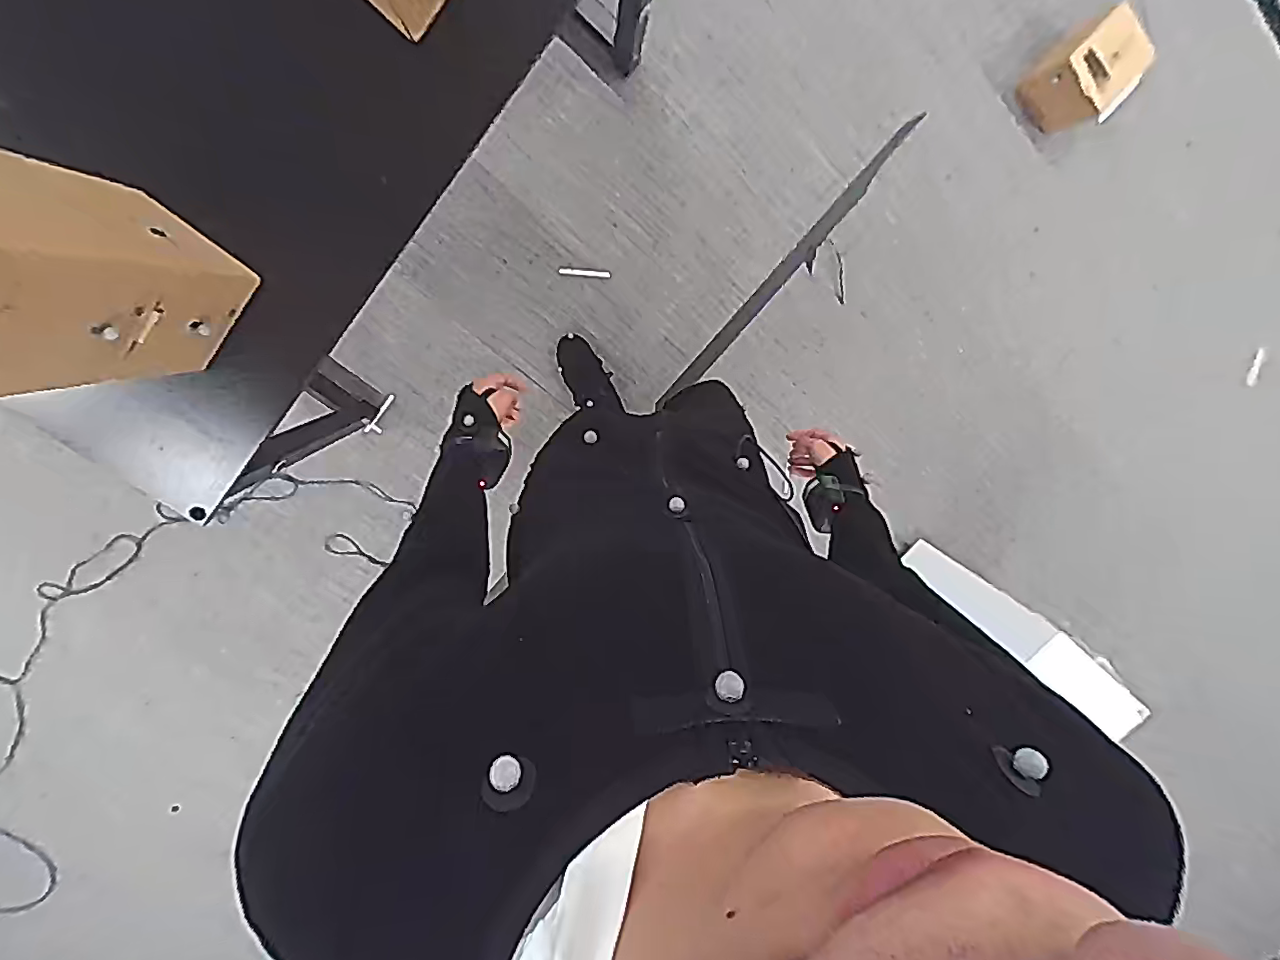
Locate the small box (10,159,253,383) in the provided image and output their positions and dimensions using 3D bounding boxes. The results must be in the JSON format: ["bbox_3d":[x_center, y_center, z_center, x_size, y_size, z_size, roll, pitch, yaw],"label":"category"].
[{"bbox_3d":[-0.633,-0.245,0.664,0.179,0.176,0.168,37,99,-15],"label":"small box"}]

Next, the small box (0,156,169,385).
[{"bbox_3d":[-0.618,-0.200,0.506,0.179,0.176,0.168,38,100,-15],"label":"small box"}]

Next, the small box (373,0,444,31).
[{"bbox_3d":[-0.291,-0.650,0.580,0.179,0.176,0.168,38,99,-15],"label":"small box"}]
